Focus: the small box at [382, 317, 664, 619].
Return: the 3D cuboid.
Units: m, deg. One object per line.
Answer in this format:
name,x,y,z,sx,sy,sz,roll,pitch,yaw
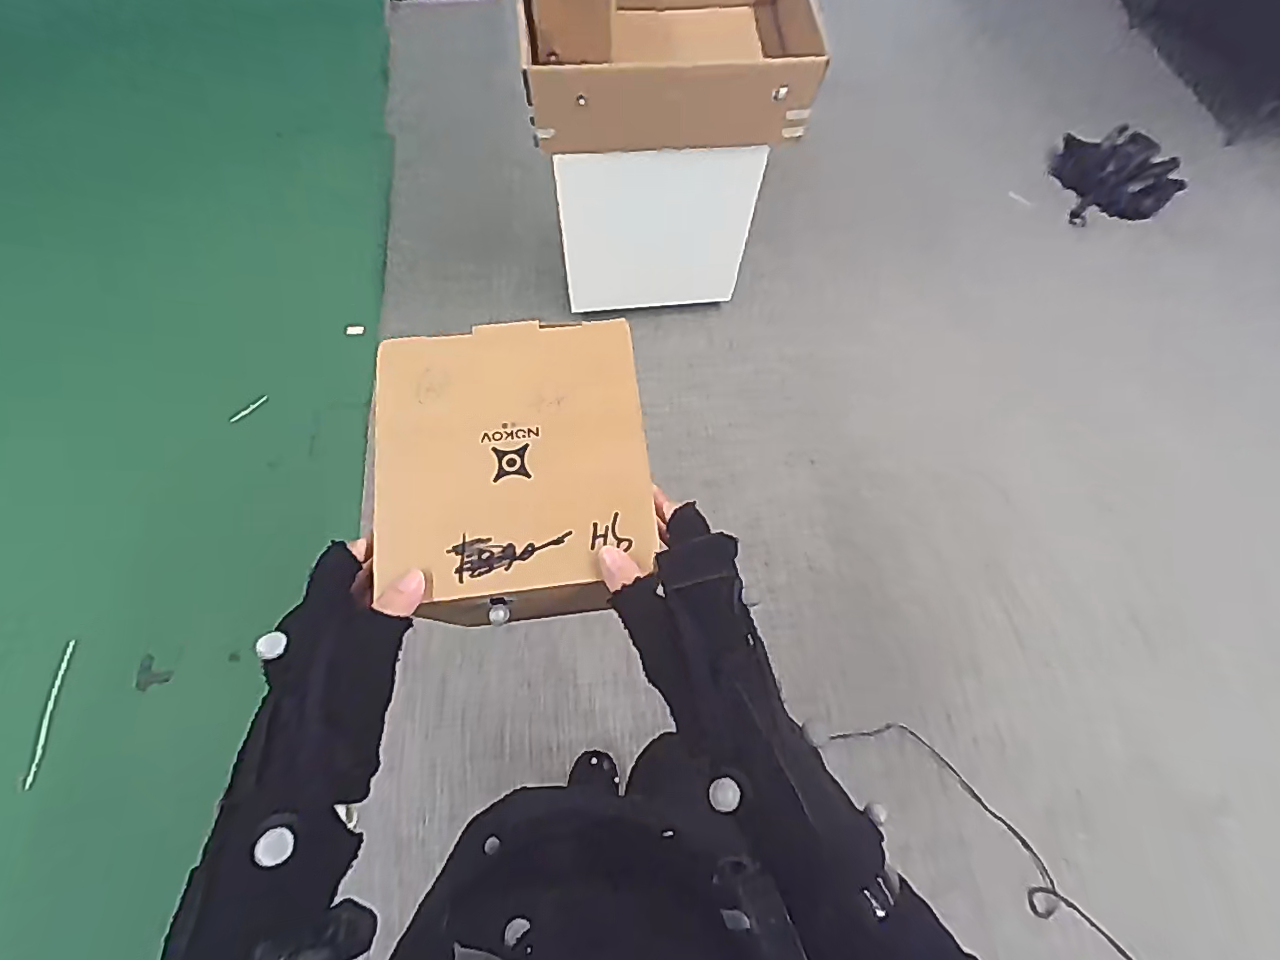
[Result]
small box,-0.076,0.002,0.416,0.168,0.176,0.179,-6,71,-2
